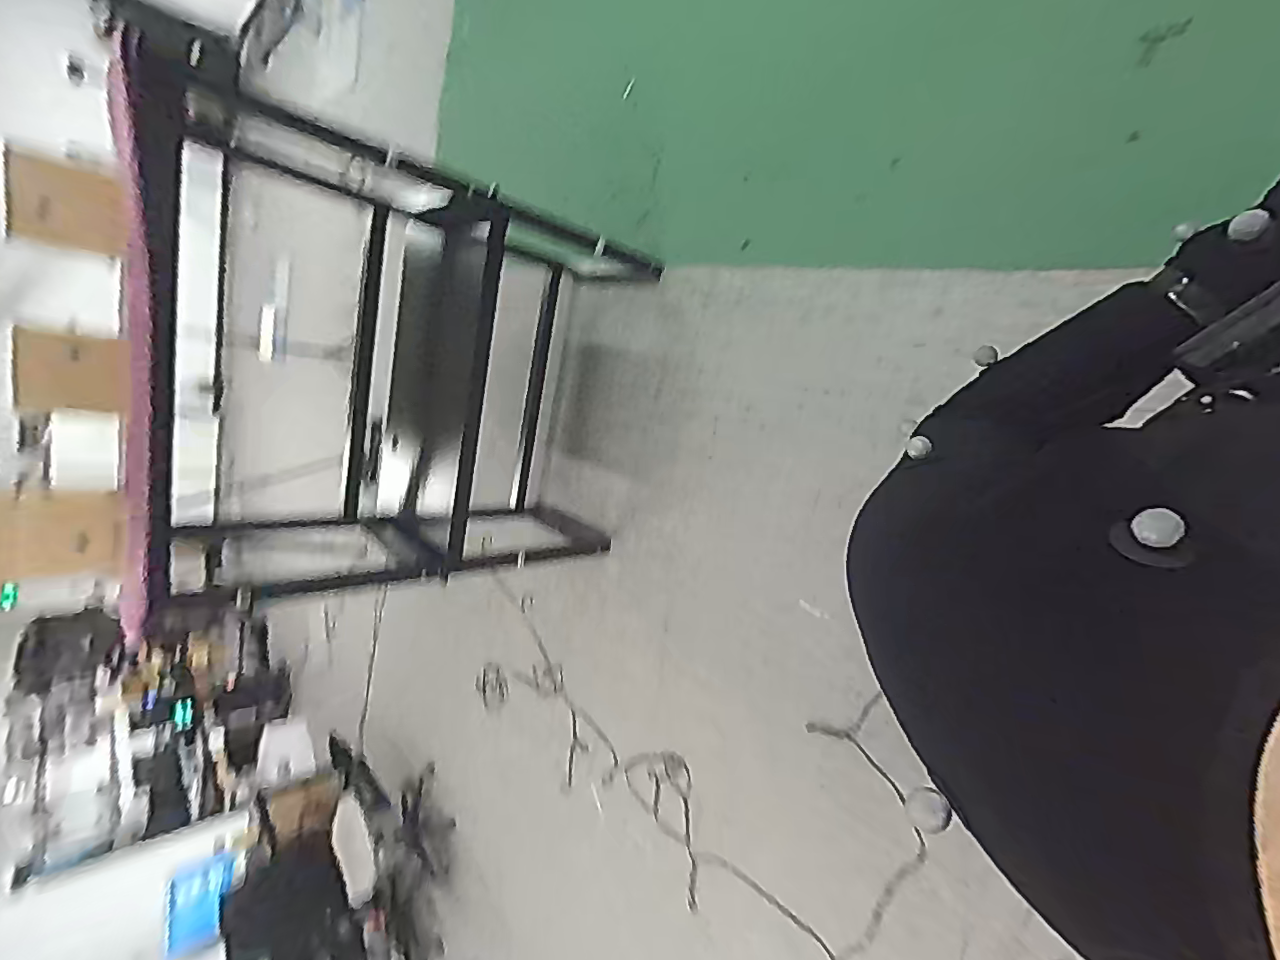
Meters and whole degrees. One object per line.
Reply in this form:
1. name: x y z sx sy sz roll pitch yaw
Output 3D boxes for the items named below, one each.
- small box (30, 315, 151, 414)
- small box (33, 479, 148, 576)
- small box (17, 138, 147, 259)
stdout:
1. small box: -1.162 -0.243 1.149 0.168 0.176 0.179 19 105 44
2. small box: -1.205 0.095 1.191 0.179 0.176 0.168 18 102 43
3. small box: -1.125 -0.560 1.102 0.168 0.176 0.179 24 108 44
